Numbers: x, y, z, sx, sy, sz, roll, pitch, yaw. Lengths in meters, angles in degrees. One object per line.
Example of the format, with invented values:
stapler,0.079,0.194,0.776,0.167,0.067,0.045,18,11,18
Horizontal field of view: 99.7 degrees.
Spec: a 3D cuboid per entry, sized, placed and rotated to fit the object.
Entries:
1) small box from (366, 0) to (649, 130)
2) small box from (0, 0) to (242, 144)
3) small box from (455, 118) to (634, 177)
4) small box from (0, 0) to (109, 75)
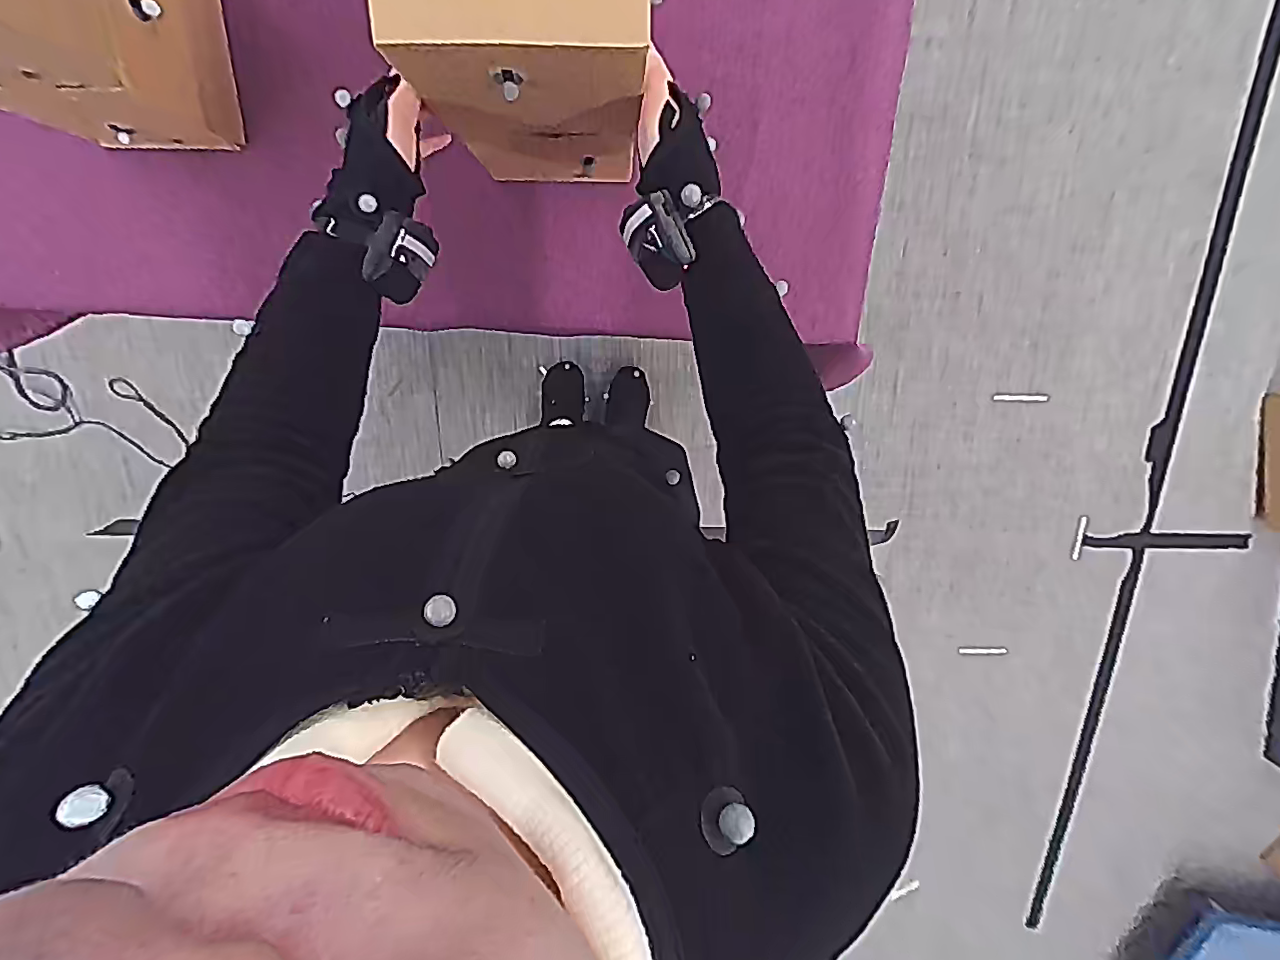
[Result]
small box,-0.083,-0.374,0.392,0.179,0.176,0.168,0,107,-3
small box,-0.535,-0.453,0.526,0.168,0.176,0.179,0,107,-2
small box,-0.088,-0.424,0.549,0.168,0.176,0.179,1,106,-3
small box,-0.530,-0.407,0.368,0.168,0.176,0.179,-2,106,-2
